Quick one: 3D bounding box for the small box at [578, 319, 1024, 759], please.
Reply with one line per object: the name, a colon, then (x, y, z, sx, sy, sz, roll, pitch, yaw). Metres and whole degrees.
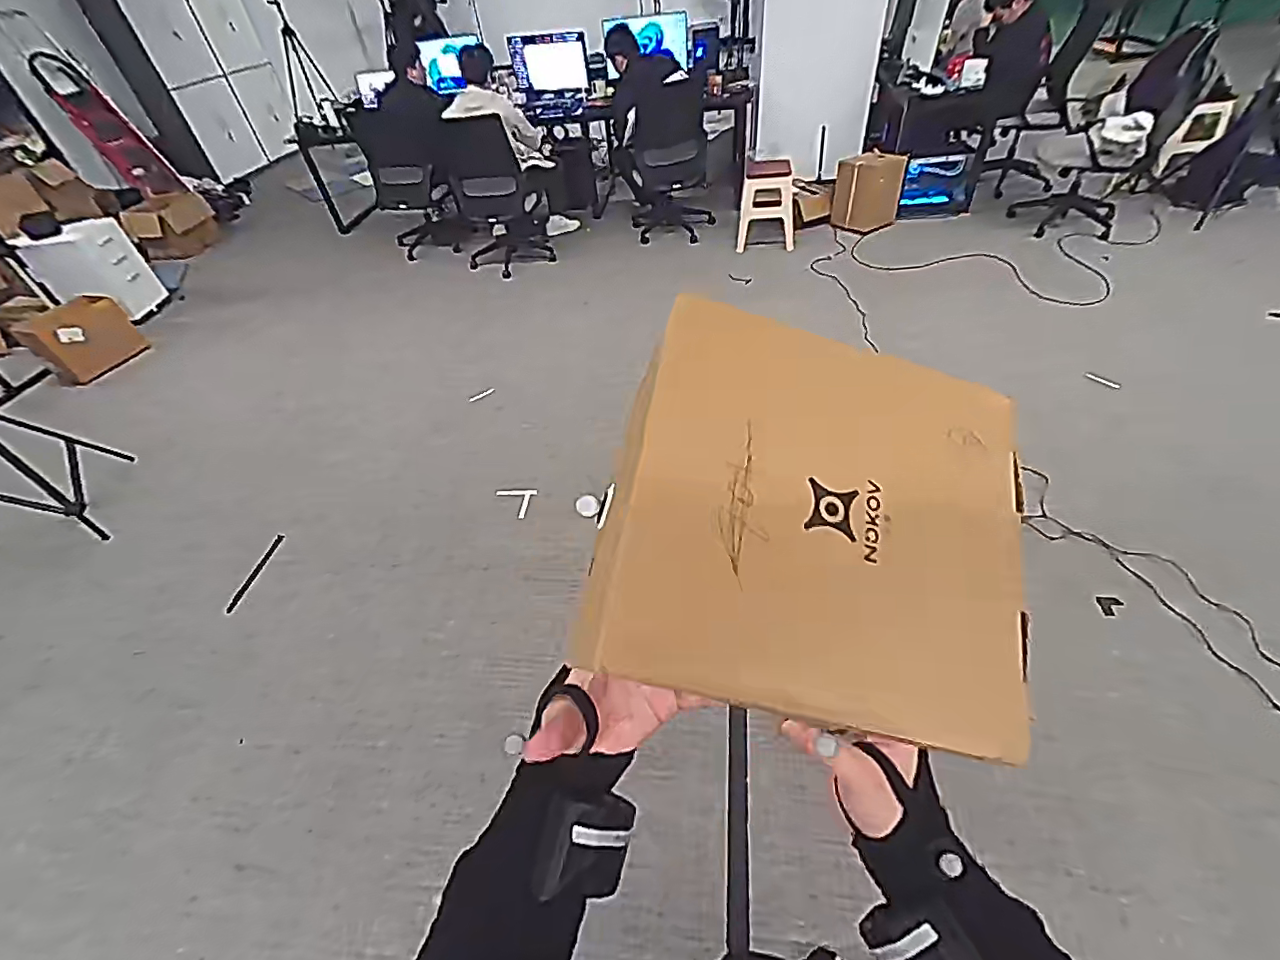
small box: (0.071, 0.043, 0.309, 0.179, 0.176, 0.168, 13, 70, -7)
